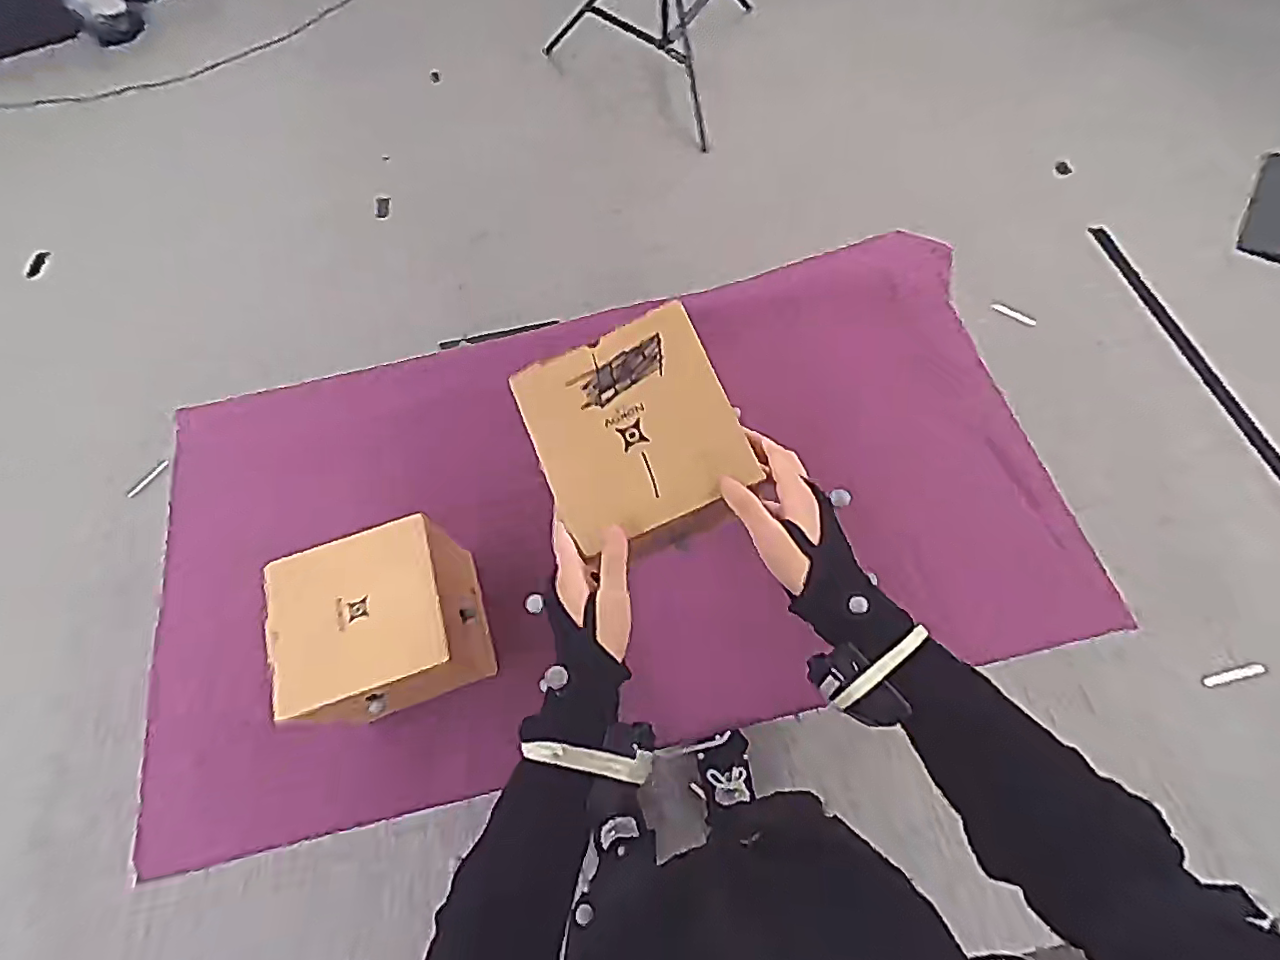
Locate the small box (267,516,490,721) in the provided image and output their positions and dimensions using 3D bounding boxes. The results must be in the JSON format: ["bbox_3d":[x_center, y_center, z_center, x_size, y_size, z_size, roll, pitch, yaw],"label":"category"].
[{"bbox_3d":[-0.288,0.164,0.630,0.179,0.176,0.168,-19,68,-4],"label":"small box"}]

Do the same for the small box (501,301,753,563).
[{"bbox_3d":[-0.006,-0.030,0.522,0.168,0.176,0.179,-24,77,4],"label":"small box"}]
